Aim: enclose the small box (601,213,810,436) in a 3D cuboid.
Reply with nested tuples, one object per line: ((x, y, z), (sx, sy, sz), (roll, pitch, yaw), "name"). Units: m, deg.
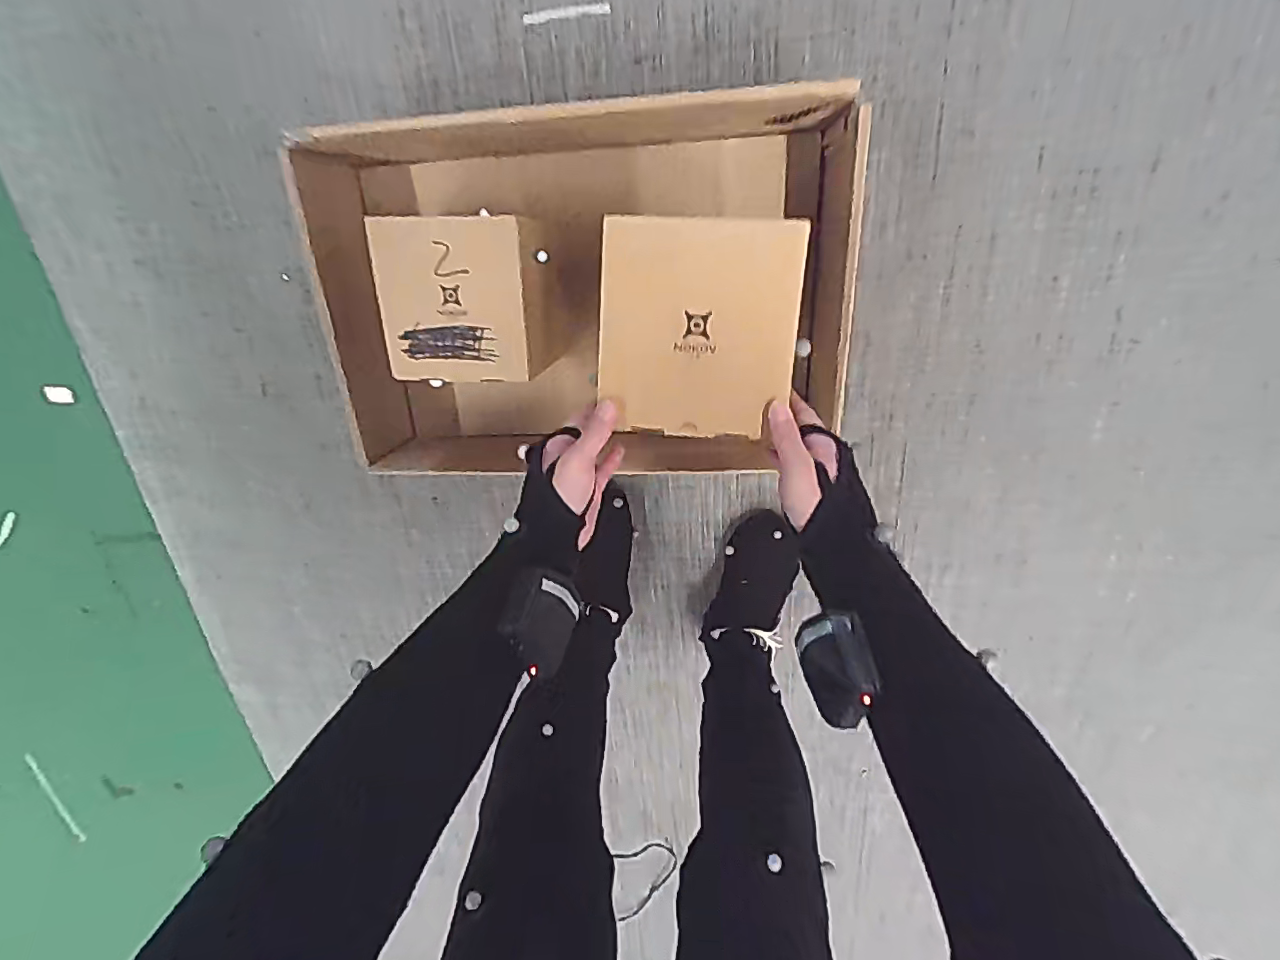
((0.059, -0.148, 0.531), (0.168, 0.176, 0.179), (4, 105, 7), "small box")
